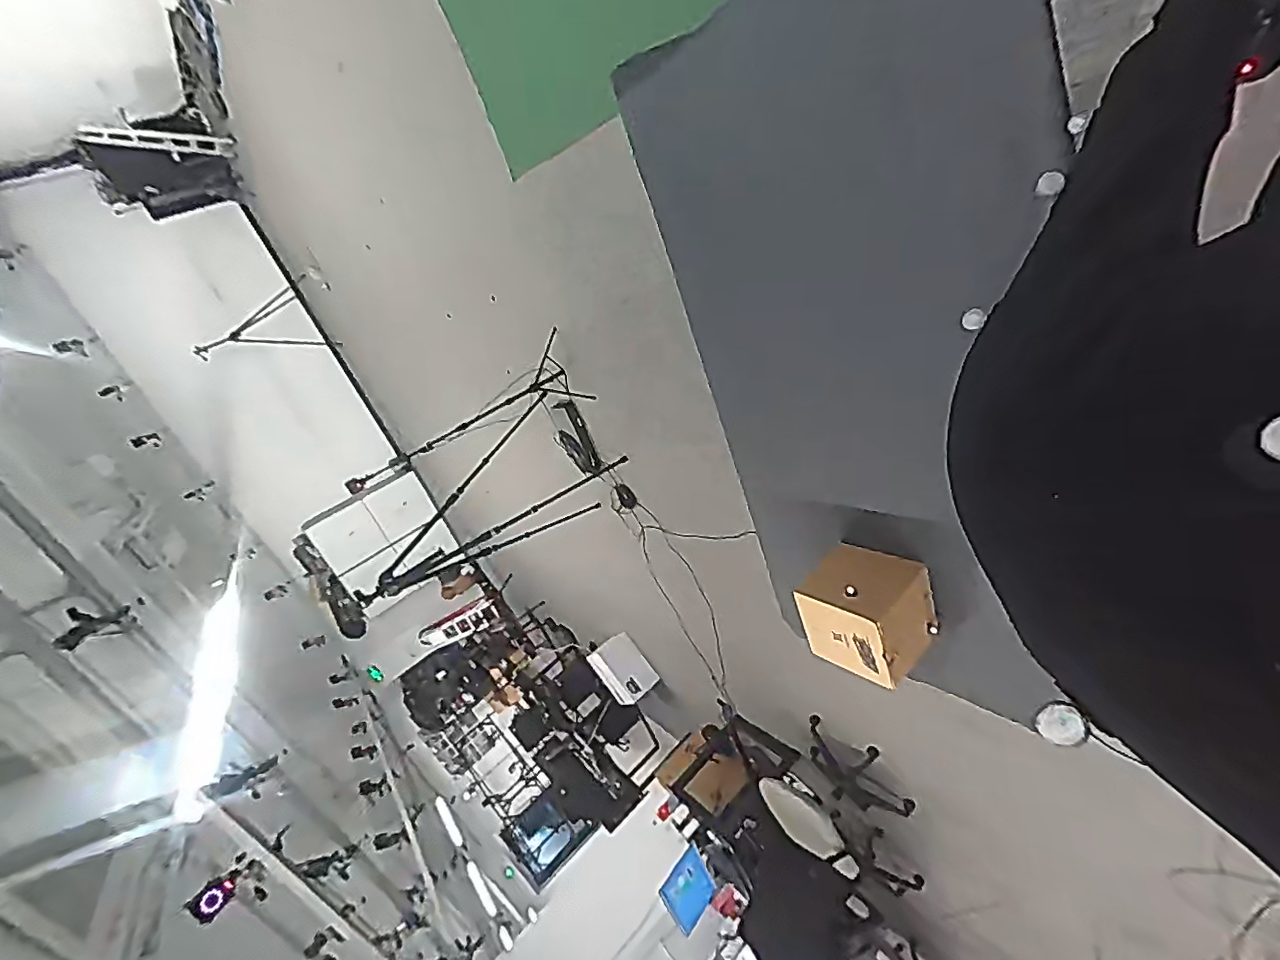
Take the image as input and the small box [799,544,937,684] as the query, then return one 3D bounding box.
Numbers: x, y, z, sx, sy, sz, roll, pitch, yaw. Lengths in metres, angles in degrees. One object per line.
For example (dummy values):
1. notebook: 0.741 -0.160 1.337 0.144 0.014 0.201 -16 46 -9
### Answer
1. small box: 0.440 0.243 1.029 0.179 0.176 0.168 13 132 54
